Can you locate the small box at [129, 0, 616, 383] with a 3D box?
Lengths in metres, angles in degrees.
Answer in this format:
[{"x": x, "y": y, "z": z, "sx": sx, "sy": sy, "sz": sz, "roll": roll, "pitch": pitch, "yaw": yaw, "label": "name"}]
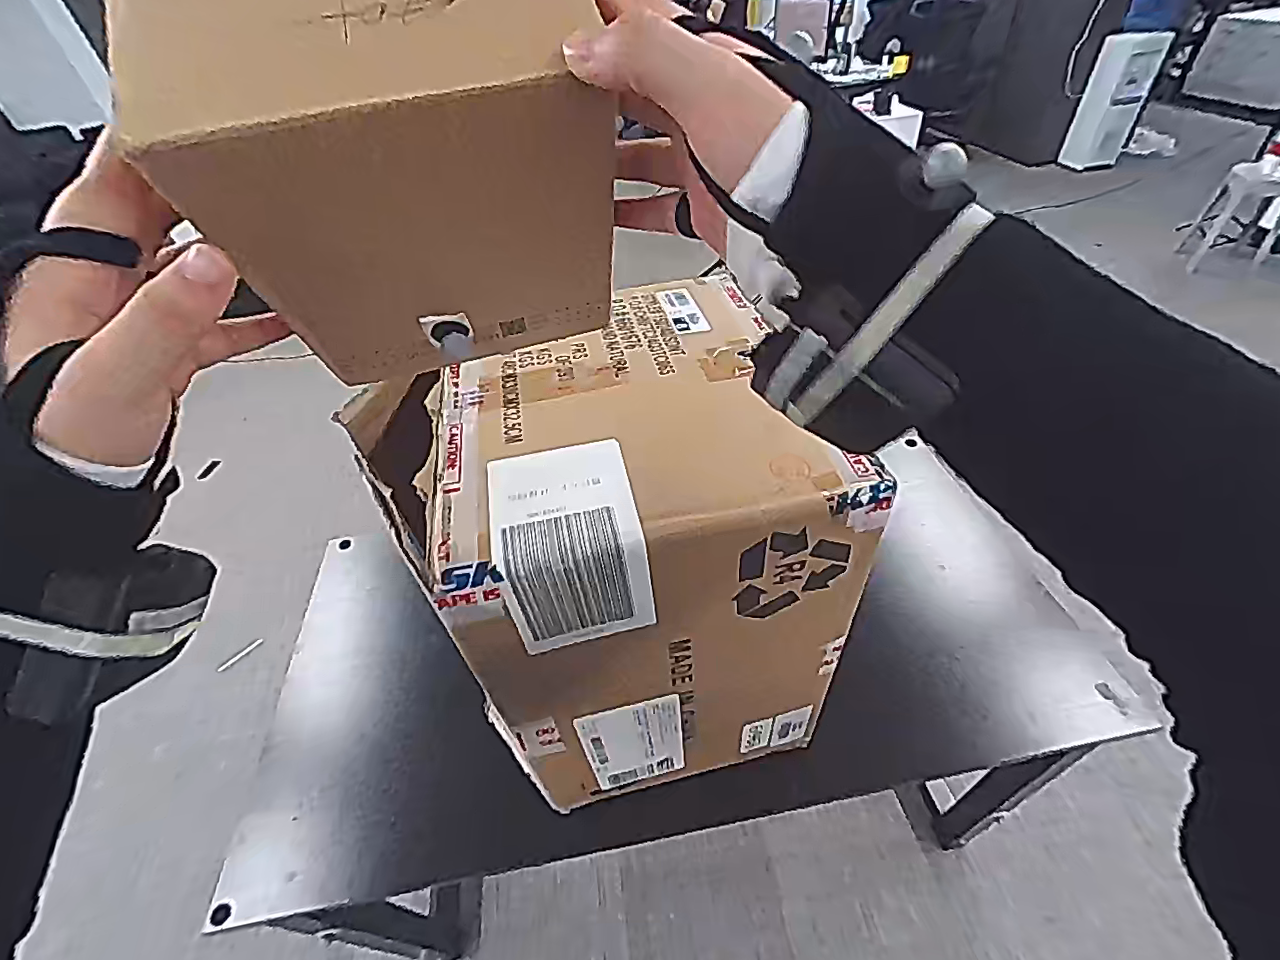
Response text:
[{"x": -0.117, "y": -0.181, "z": 0.291, "sx": 0.168, "sy": 0.176, "sz": 0.179, "roll": -17, "pitch": 74, "yaw": -8, "label": "small box"}]
